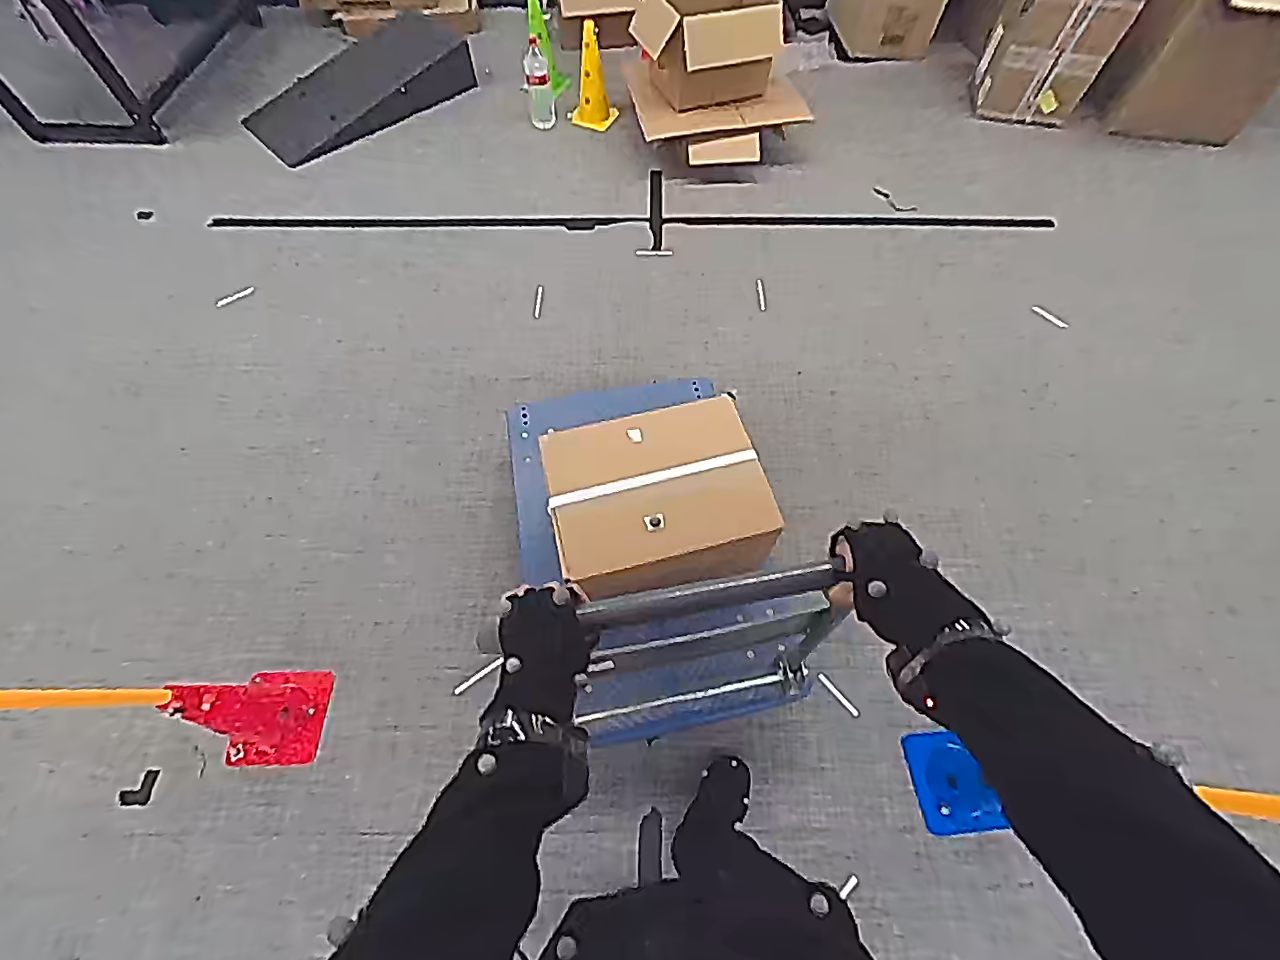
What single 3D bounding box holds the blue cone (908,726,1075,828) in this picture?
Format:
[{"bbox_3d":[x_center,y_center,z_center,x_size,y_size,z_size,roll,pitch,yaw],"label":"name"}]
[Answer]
[{"bbox_3d":[0.713,0.576,1.061,0.193,0.380,0.192,-3,60,-2],"label":"blue cone"}]
